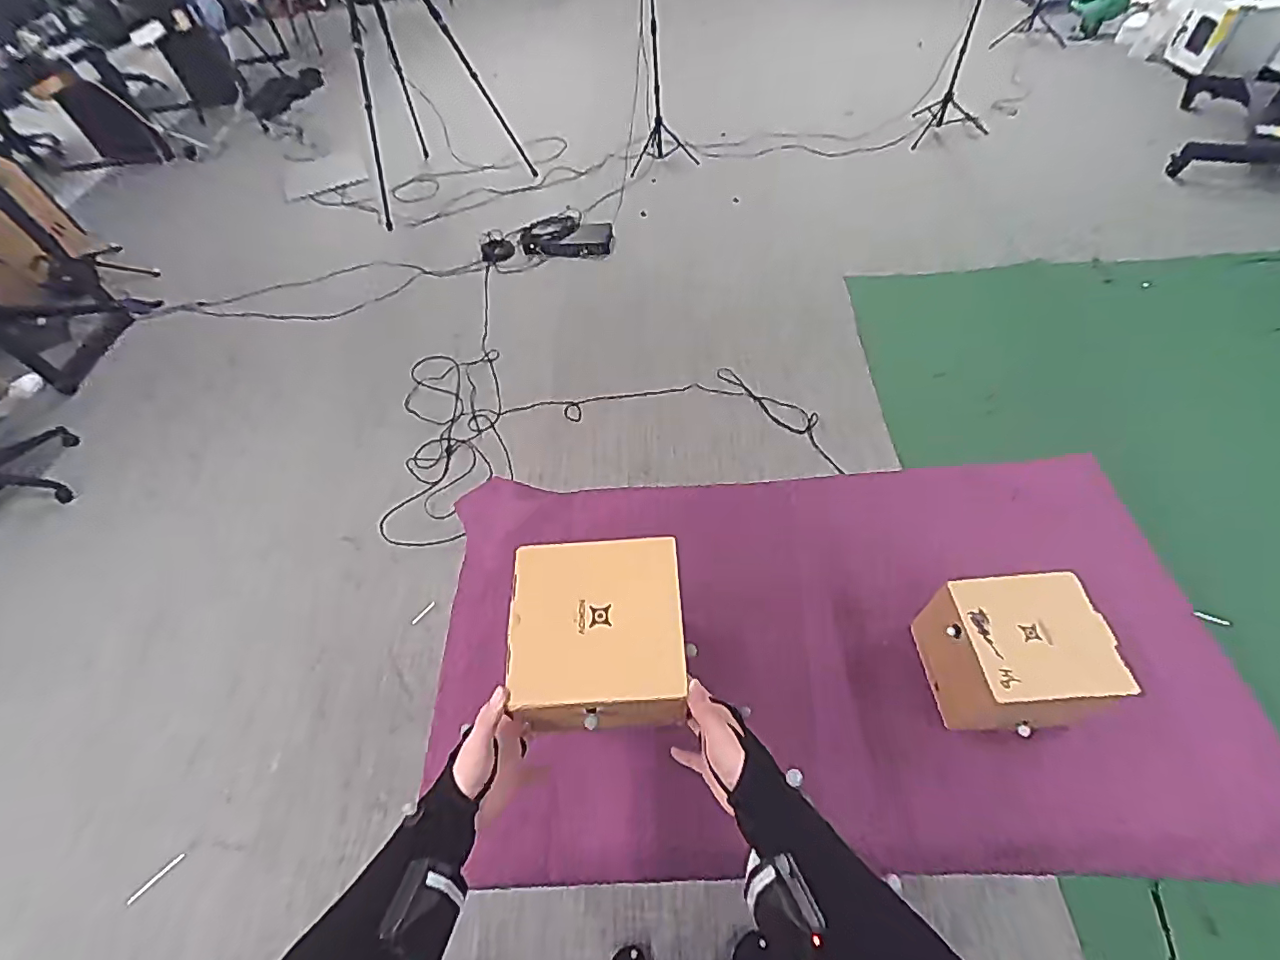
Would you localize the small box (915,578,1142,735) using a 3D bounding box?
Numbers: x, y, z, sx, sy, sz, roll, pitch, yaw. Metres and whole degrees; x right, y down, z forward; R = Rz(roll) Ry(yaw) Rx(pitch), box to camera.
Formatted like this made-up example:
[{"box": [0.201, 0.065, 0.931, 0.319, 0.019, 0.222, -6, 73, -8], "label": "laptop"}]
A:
[{"box": [0.526, 0.253, 0.765, 0.179, 0.176, 0.168, -5, 52, 3], "label": "small box"}]

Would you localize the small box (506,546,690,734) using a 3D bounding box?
[{"box": [-0.037, 0.187, 0.615, 0.179, 0.176, 0.168, -5, 58, 3], "label": "small box"}]
